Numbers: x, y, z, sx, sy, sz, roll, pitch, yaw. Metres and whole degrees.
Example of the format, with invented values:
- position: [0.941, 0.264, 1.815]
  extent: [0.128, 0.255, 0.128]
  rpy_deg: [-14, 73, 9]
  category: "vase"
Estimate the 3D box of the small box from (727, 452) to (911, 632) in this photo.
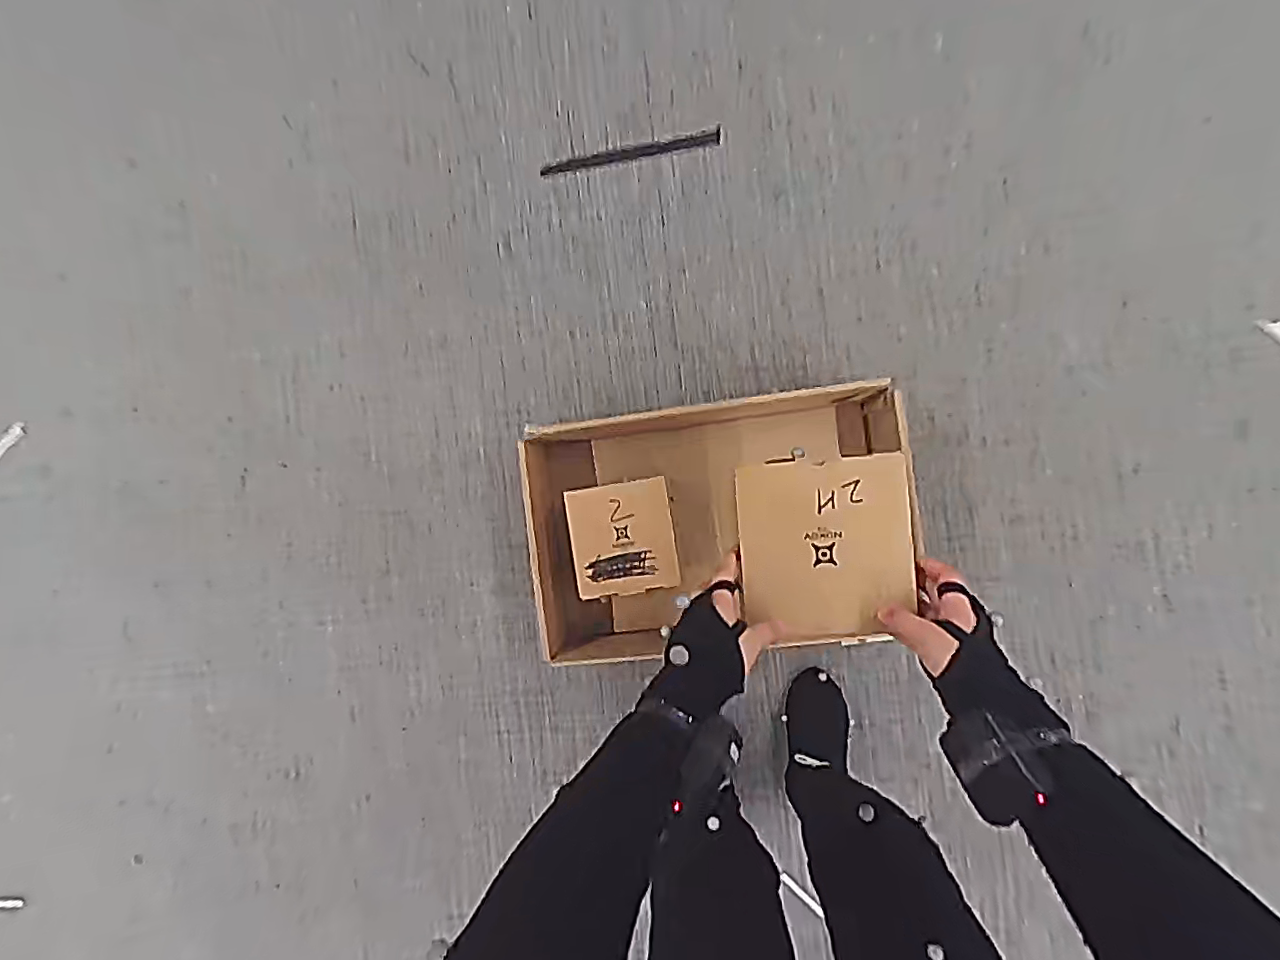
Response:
- position: [0.190, 0.063, 0.618]
  extent: [0.168, 0.176, 0.179]
  rpy_deg: [-4, 89, 5]
  category: "small box"
